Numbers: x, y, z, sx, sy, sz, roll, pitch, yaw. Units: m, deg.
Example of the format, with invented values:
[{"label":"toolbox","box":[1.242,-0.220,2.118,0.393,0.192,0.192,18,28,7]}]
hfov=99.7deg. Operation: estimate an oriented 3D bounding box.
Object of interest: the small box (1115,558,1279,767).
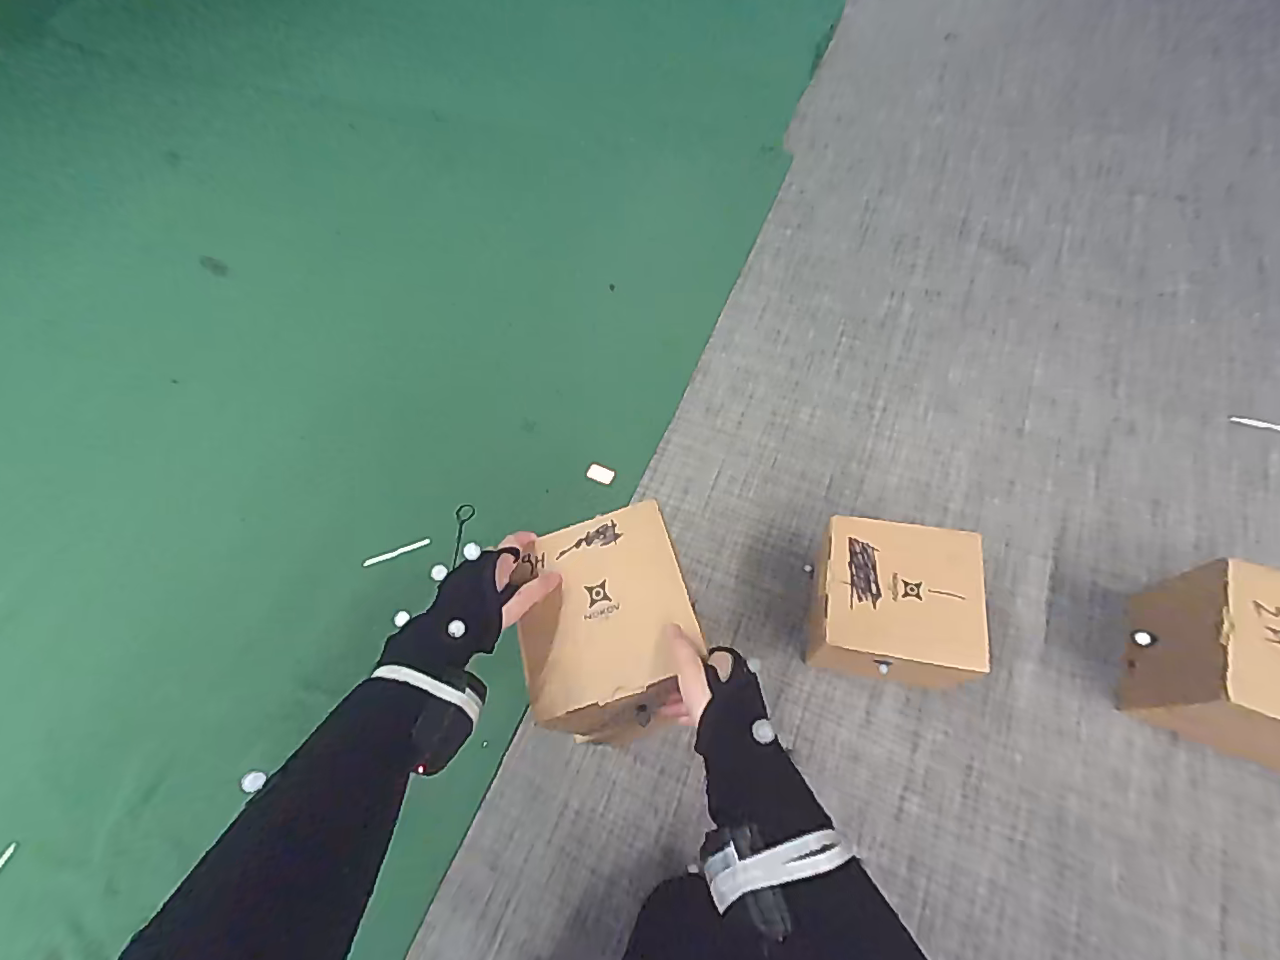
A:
[{"label":"small box","box":[0.703,0.215,0.616,0.179,0.176,0.168,19,68,18]}]

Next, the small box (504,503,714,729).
[{"label":"small box","box":[-0.026,0.155,0.579,0.168,0.176,0.179,-19,60,2]}]

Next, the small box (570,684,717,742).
[{"label":"small box","box":[-0.004,0.241,0.725,0.179,0.176,0.168,-19,62,-1]}]
